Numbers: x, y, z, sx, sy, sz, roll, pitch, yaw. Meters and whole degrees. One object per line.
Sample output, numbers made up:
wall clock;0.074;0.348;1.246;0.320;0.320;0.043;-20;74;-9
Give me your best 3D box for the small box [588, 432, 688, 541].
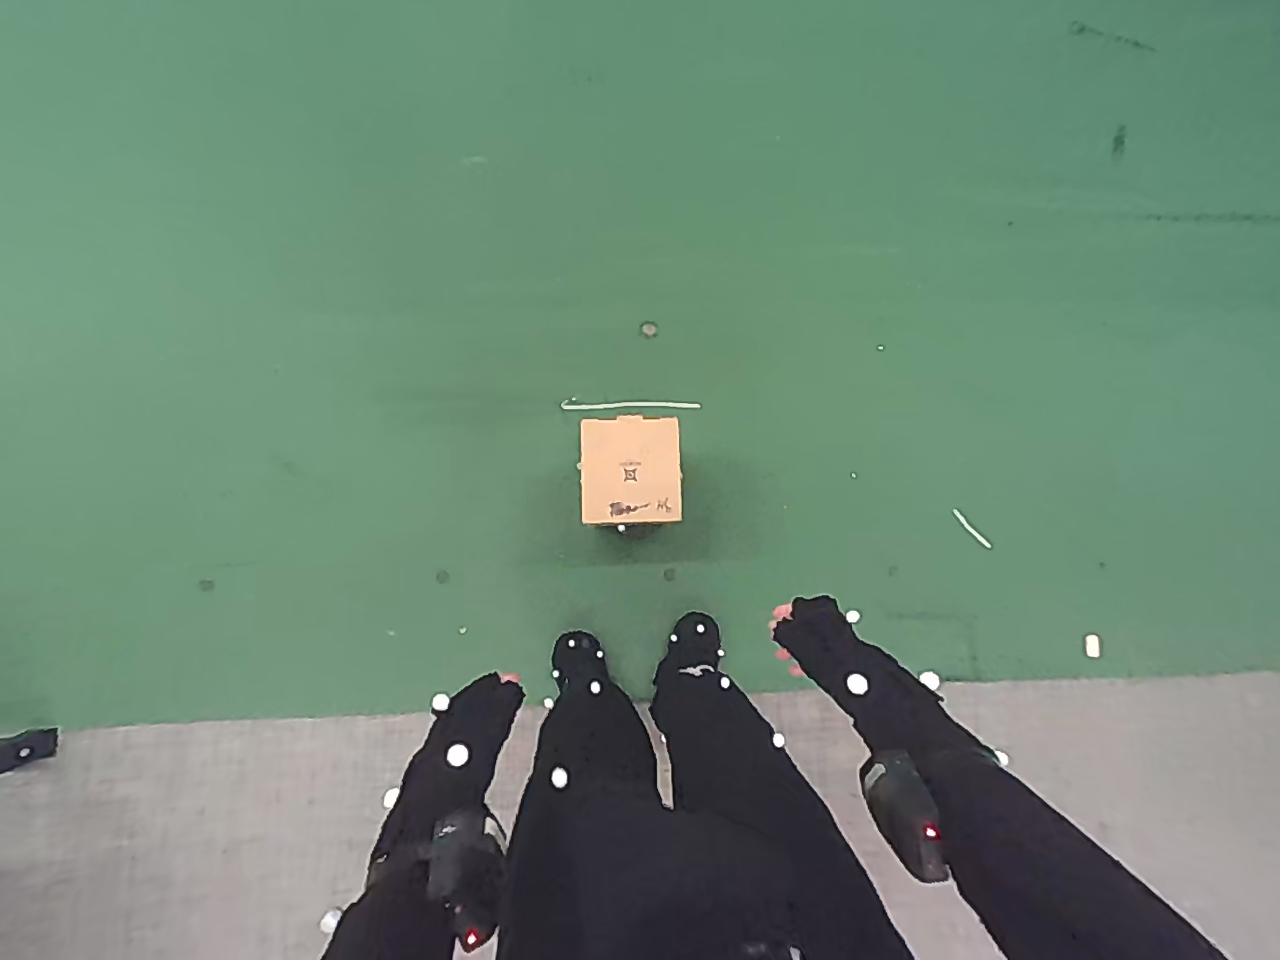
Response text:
small box;-0.006;0.018;0.971;0.168;0.176;0.179;-2;82;-1
